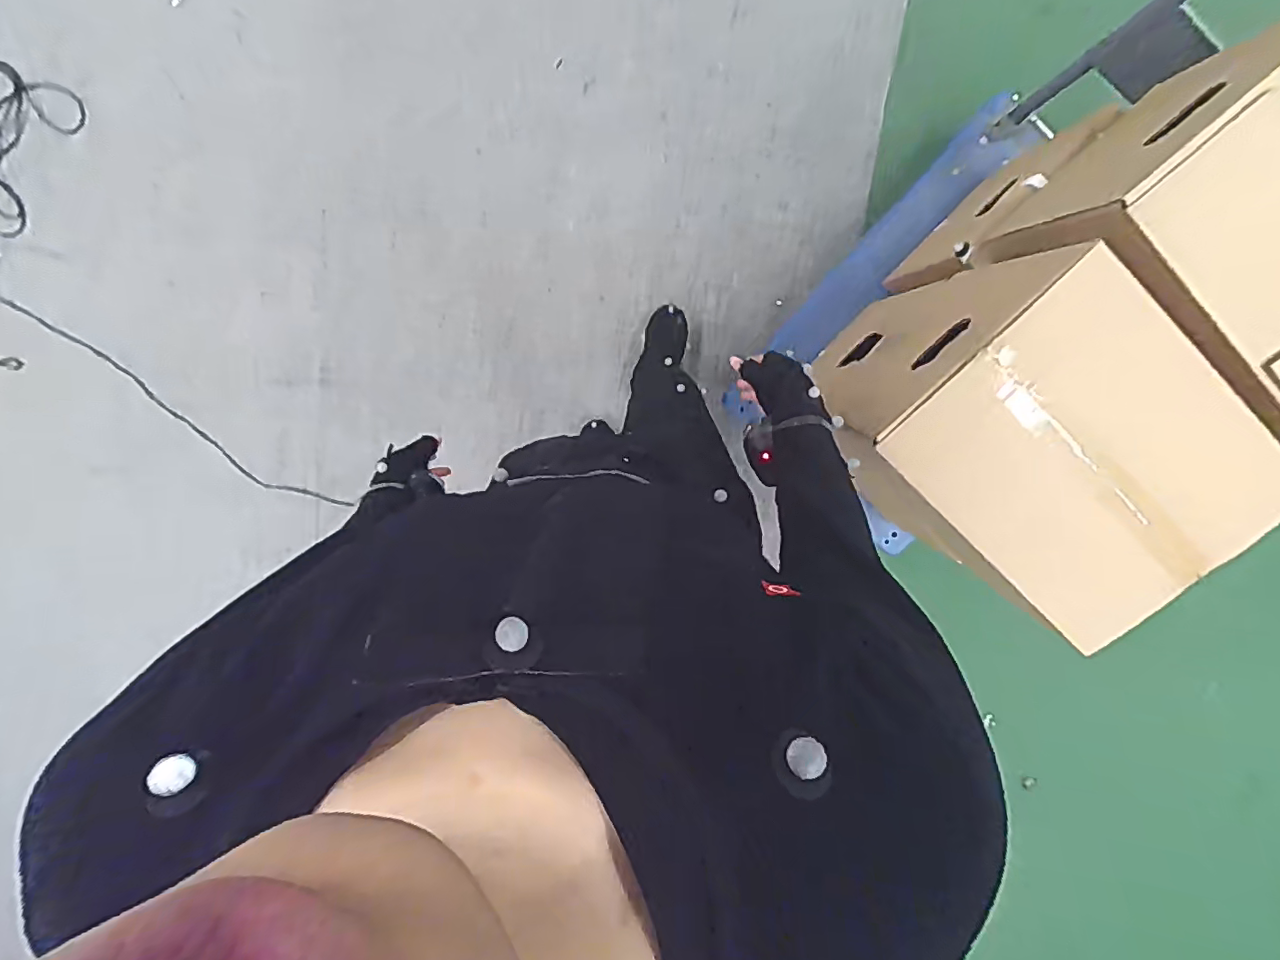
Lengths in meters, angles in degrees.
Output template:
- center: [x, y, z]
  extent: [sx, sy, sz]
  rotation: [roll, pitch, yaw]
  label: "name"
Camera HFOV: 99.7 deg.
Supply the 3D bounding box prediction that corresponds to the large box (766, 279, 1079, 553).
- center: [0.528, -0.126, 1.093]
  extent: [0.408, 0.320, 0.320]
  rotation: [42, 97, -5]
  label: "large box"
